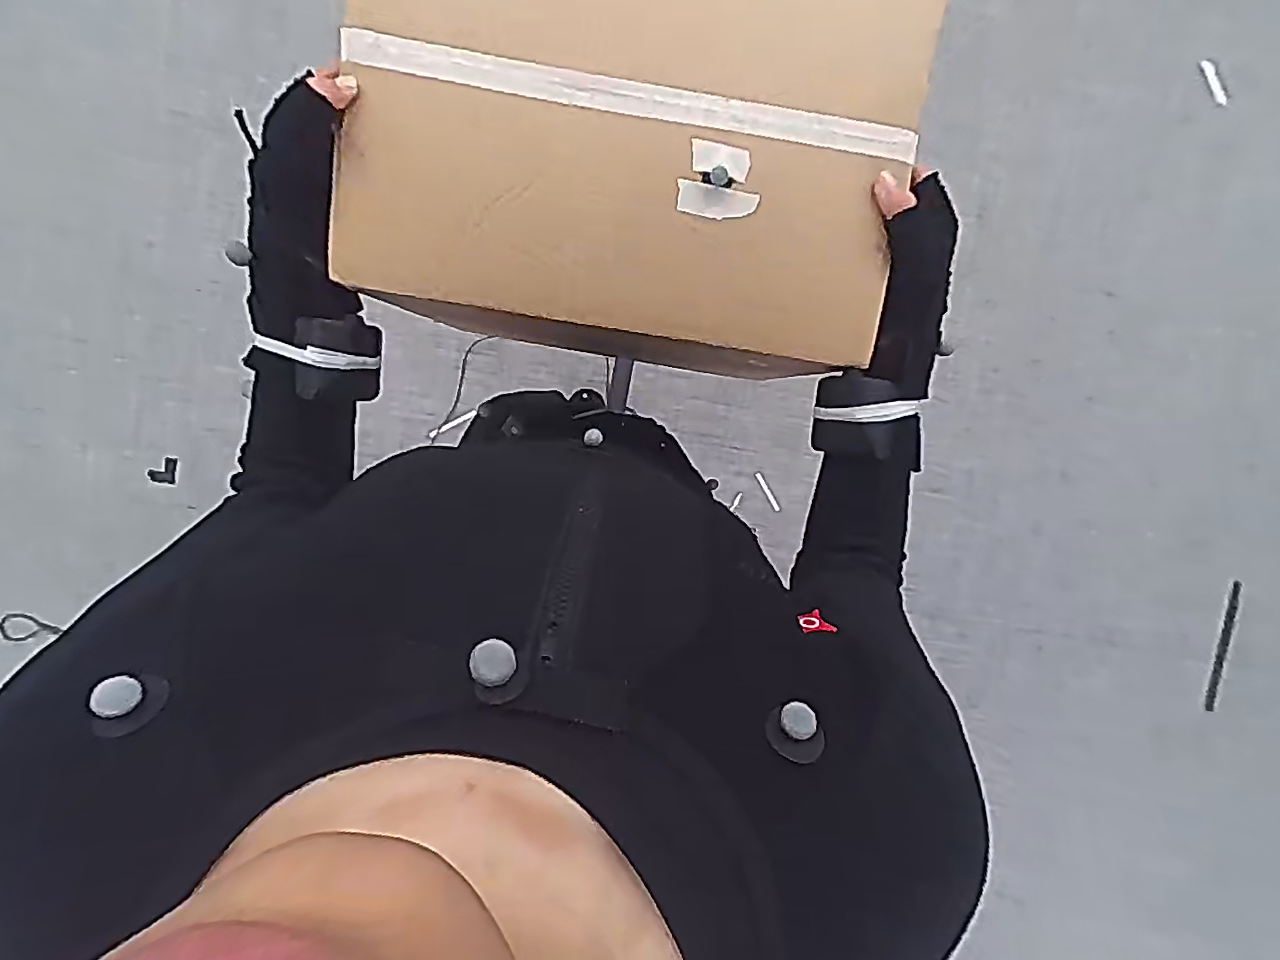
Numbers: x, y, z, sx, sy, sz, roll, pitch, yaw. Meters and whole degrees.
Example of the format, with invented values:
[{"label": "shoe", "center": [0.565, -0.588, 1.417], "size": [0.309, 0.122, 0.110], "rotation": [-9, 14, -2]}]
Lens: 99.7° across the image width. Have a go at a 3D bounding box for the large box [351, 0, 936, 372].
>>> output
[{"label": "large box", "center": [-0.006, -0.292, 0.536], "size": [0.408, 0.320, 0.320], "rotation": [8, 100, -4]}]
